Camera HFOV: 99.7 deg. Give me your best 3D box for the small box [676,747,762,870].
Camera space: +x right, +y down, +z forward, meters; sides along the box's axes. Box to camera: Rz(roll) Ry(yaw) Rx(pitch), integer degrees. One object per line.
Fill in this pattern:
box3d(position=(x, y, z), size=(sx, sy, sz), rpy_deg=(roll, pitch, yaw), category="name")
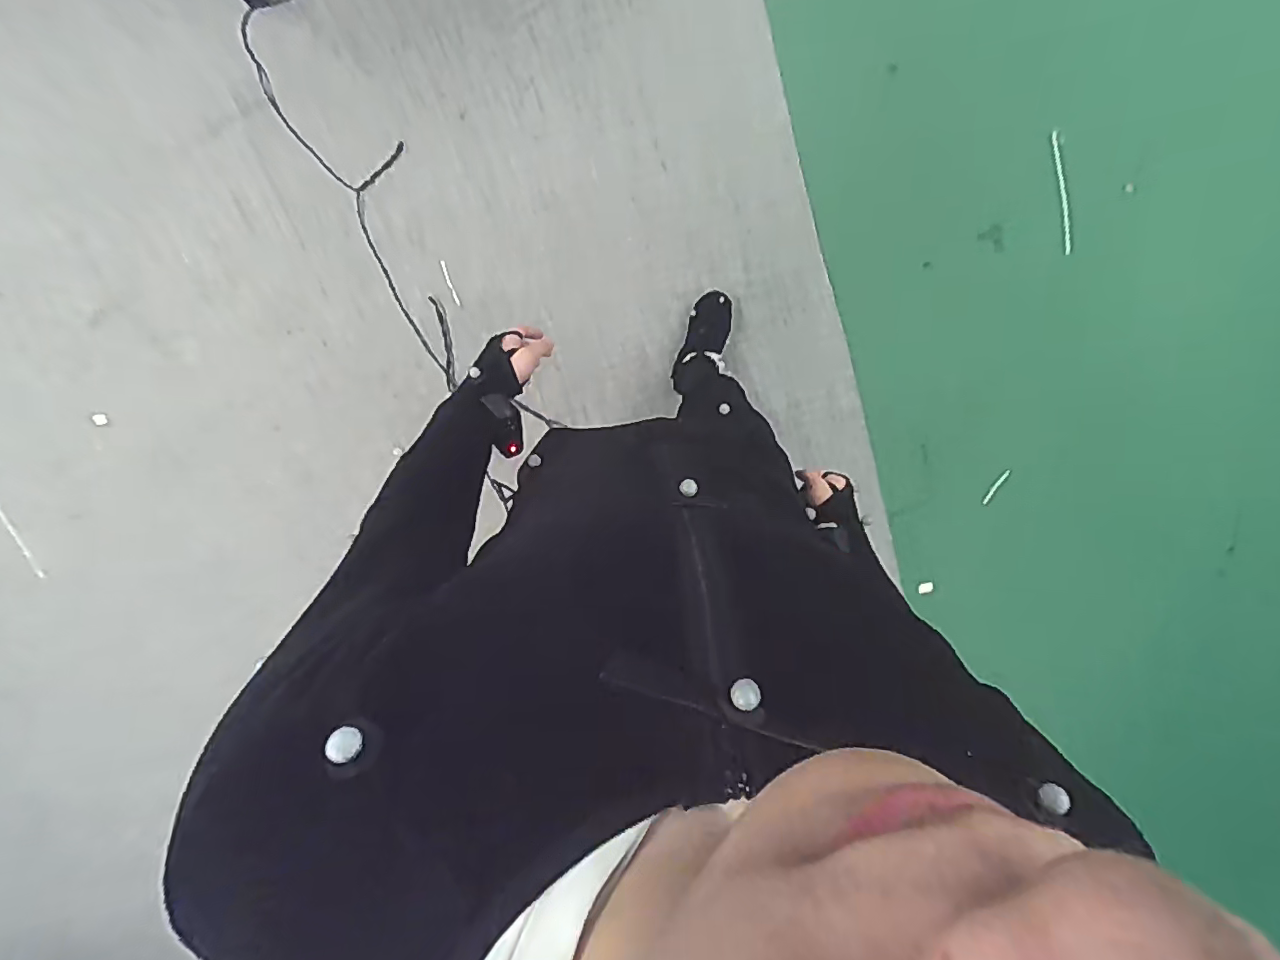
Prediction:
box3d(position=(0.184, 0.782, 1.298), size=(0.168, 0.176, 0.179), rpy_deg=(-12, 104, 1), category="small box")
